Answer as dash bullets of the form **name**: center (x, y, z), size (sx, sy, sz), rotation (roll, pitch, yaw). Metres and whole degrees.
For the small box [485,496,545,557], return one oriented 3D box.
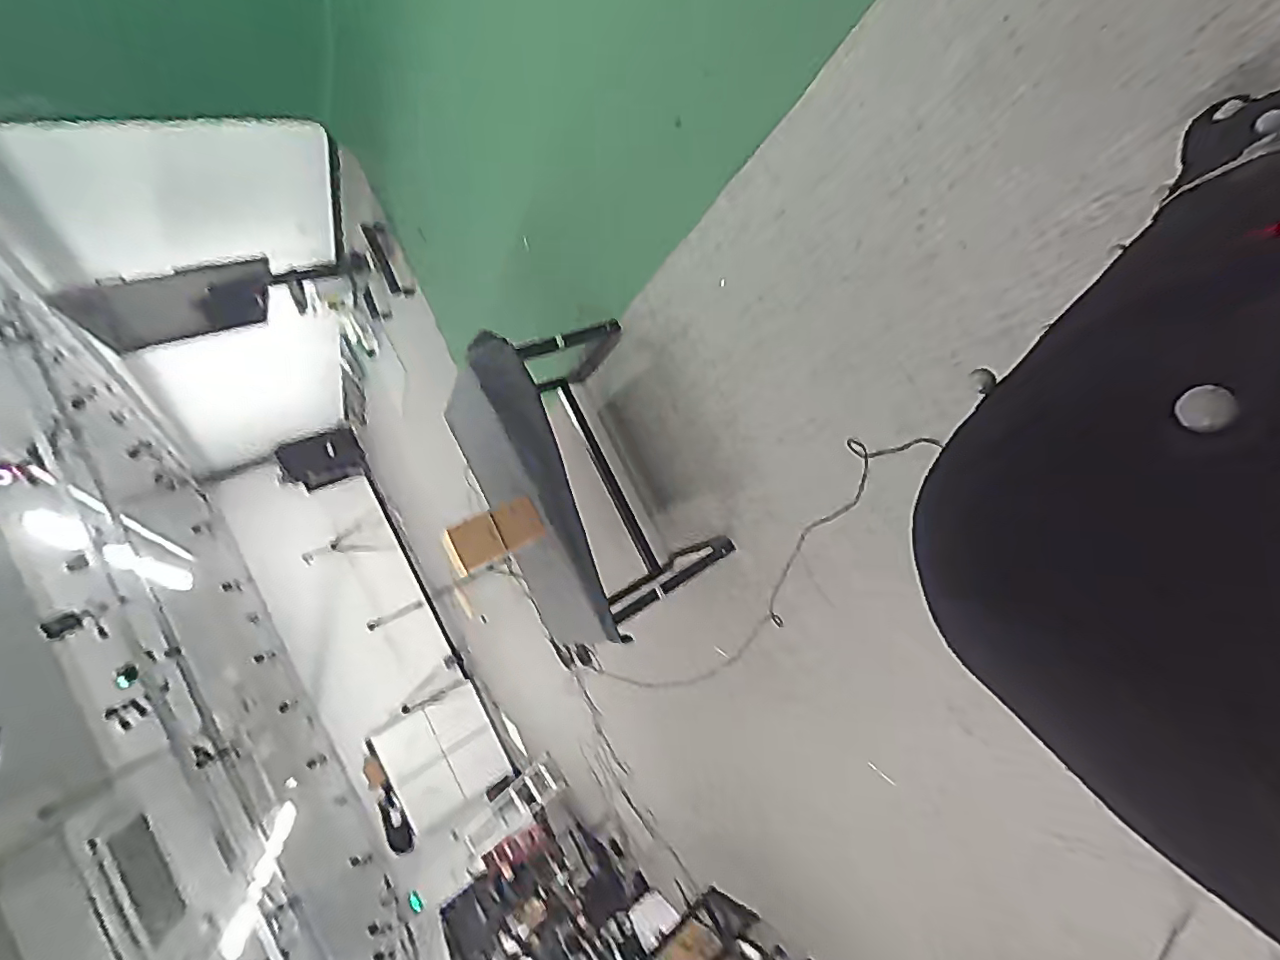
- **small box**: center (-0.500, 0.178, 2.117), size (0.179, 0.176, 0.168), rotation (61, 150, 3)

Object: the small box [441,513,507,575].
- **small box**: center (-0.624, 0.237, 2.027), size (0.168, 0.176, 0.179), rotation (-29, 86, 60)
